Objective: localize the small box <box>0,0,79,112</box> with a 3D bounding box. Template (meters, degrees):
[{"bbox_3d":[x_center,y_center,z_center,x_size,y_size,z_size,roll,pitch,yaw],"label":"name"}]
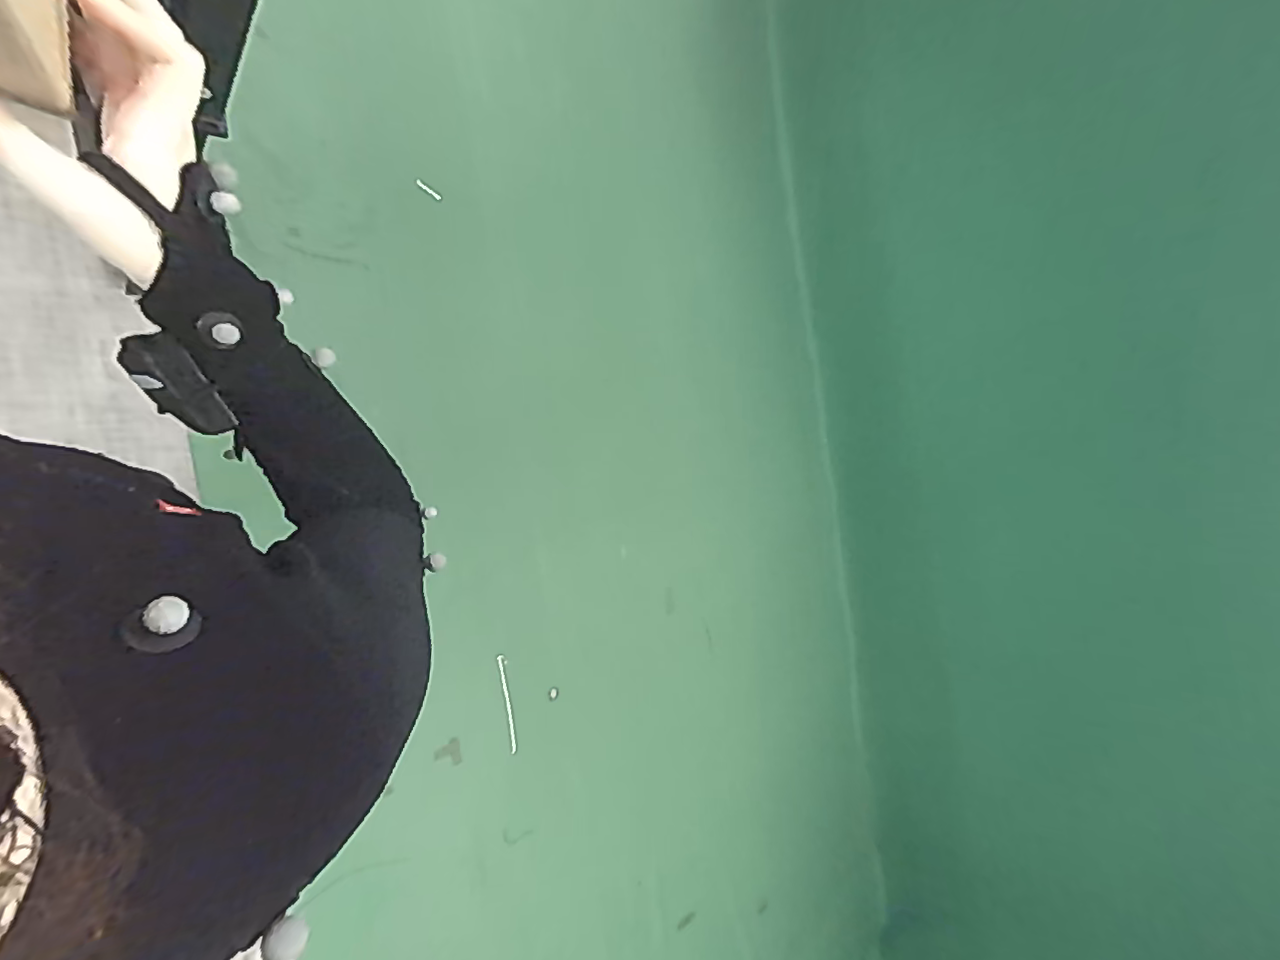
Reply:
[{"bbox_3d":[-0.280,-0.237,0.146,0.168,0.176,0.179,-1,107,-41],"label":"small box"}]
